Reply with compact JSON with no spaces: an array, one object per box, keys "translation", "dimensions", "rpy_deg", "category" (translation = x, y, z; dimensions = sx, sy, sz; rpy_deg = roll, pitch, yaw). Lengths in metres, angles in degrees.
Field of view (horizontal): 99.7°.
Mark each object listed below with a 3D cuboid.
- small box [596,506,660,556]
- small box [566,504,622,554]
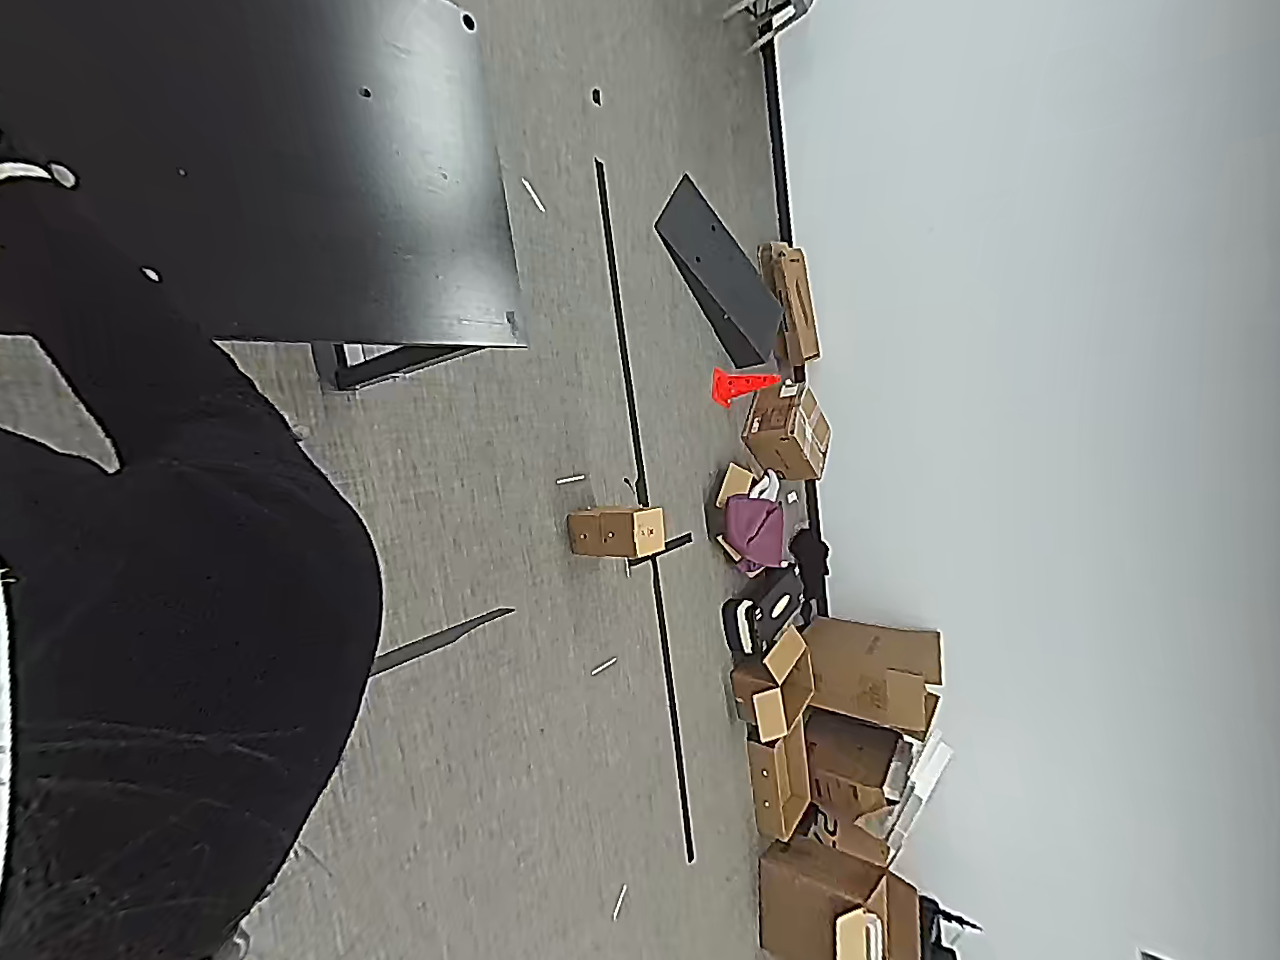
[{"translation":[-0.045,0.189,2.044],"dimensions":[0.179,0.176,0.168],"rpy_deg":[-7,93,-51],"category":"small box"},{"translation":[-0.177,0.193,2.145],"dimensions":[0.179,0.176,0.168],"rpy_deg":[-16,100,-50],"category":"small box"}]
